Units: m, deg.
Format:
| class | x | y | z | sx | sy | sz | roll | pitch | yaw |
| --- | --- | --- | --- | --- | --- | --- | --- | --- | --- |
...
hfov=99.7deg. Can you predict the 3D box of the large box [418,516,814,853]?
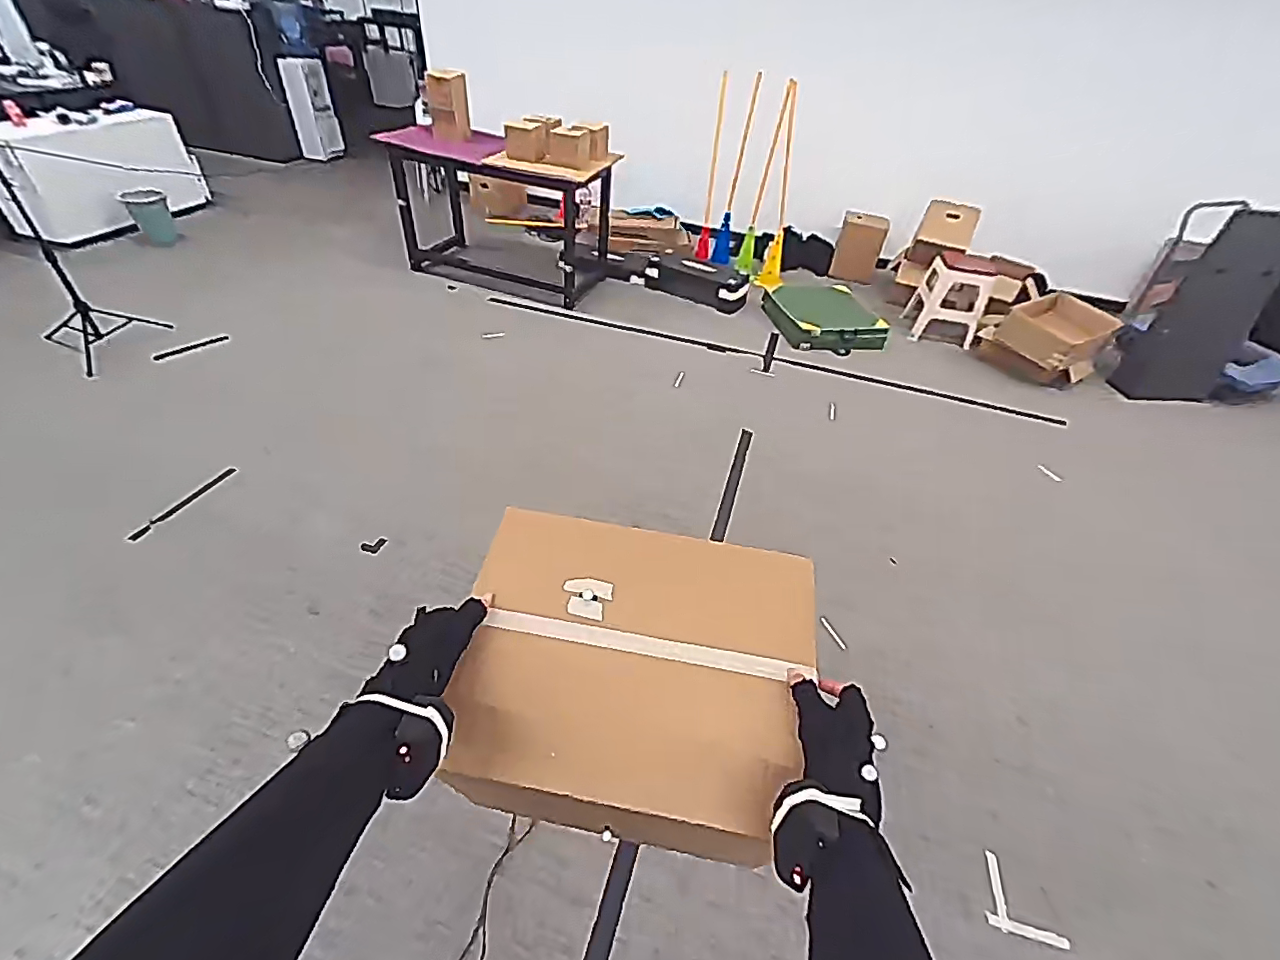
| class | x | y | z | sx | sy | sz | roll | pitch | yaw |
| --- | --- | --- | --- | --- | --- | --- | --- | --- | --- |
| large box | -0.007 | 0.284 | 0.736 | 0.408 | 0.320 | 0.320 | 9 | 51 | 5 |
